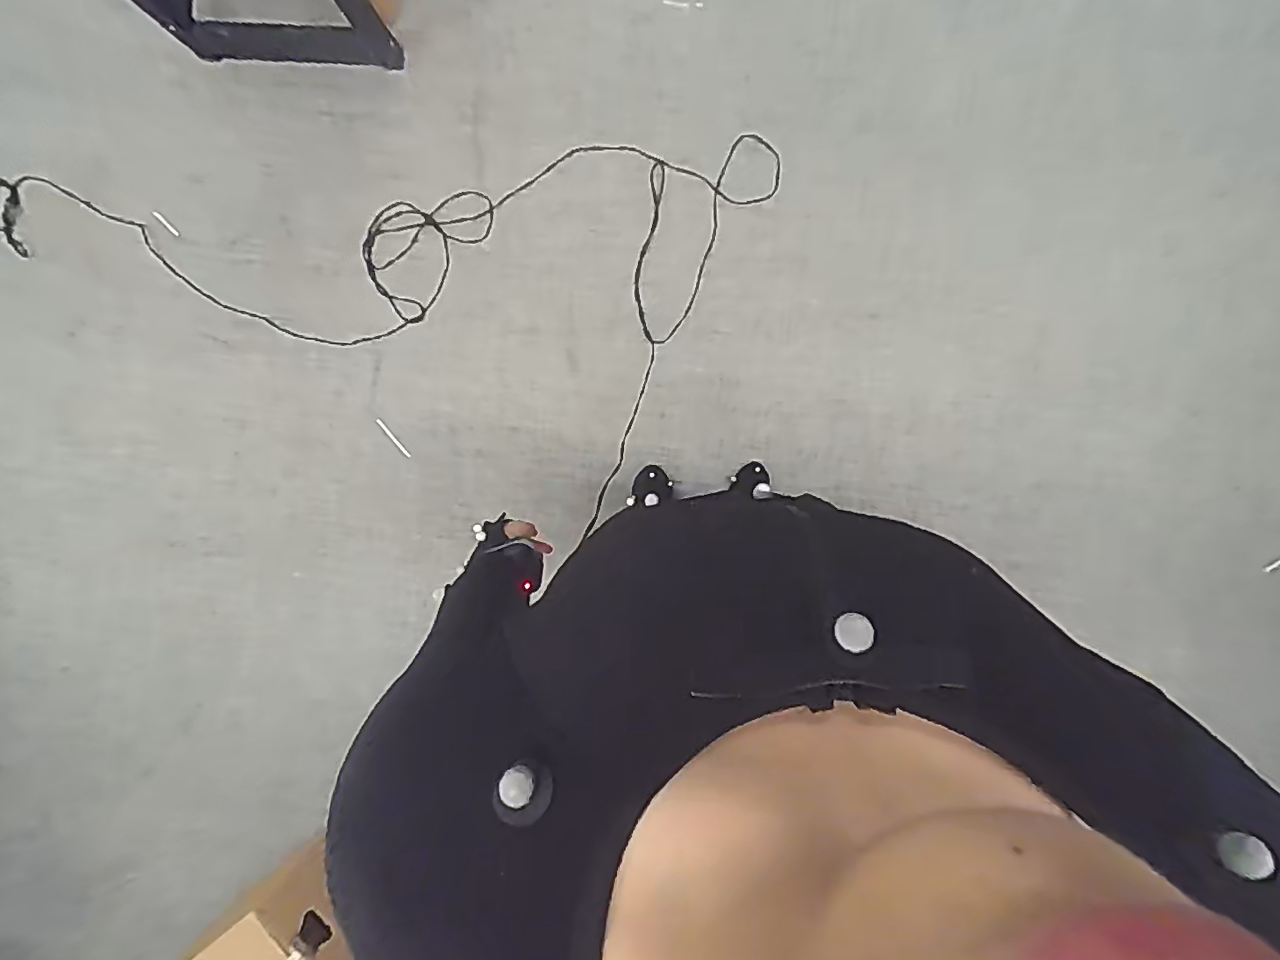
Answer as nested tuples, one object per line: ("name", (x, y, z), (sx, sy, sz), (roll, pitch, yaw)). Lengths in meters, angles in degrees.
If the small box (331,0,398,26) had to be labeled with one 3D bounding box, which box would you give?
("small box", (-0.726, -1.322, 1.382), (0.168, 0.176, 0.179), (17, 95, 2))
